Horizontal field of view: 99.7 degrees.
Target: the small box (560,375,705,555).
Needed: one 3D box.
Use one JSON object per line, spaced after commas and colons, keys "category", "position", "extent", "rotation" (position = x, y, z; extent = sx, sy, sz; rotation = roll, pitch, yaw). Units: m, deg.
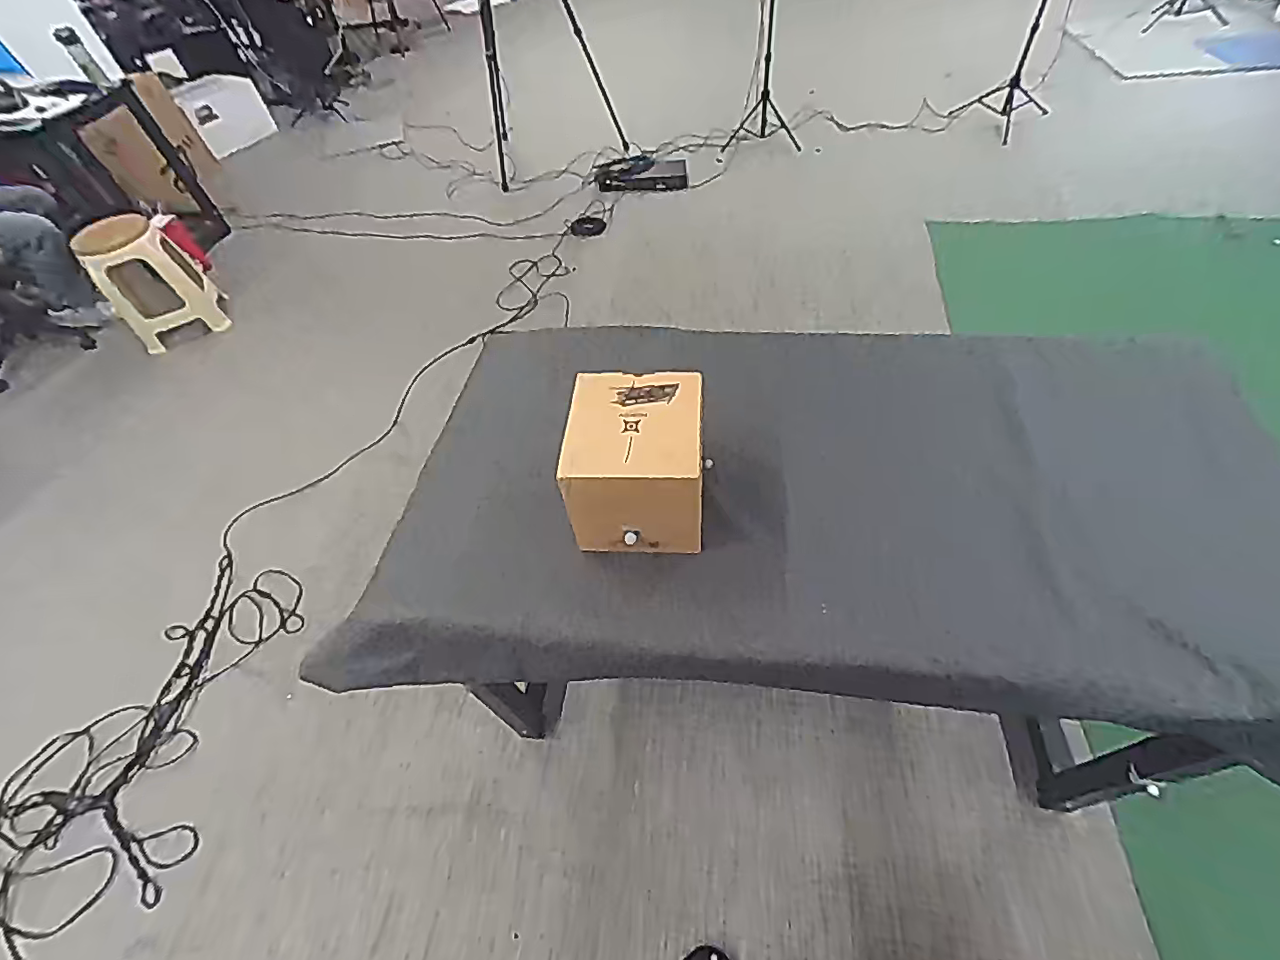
{"category": "small box", "position": [0.002, -0.020, 0.722], "extent": [0.168, 0.176, 0.179], "rotation": [0, 52, 7]}
